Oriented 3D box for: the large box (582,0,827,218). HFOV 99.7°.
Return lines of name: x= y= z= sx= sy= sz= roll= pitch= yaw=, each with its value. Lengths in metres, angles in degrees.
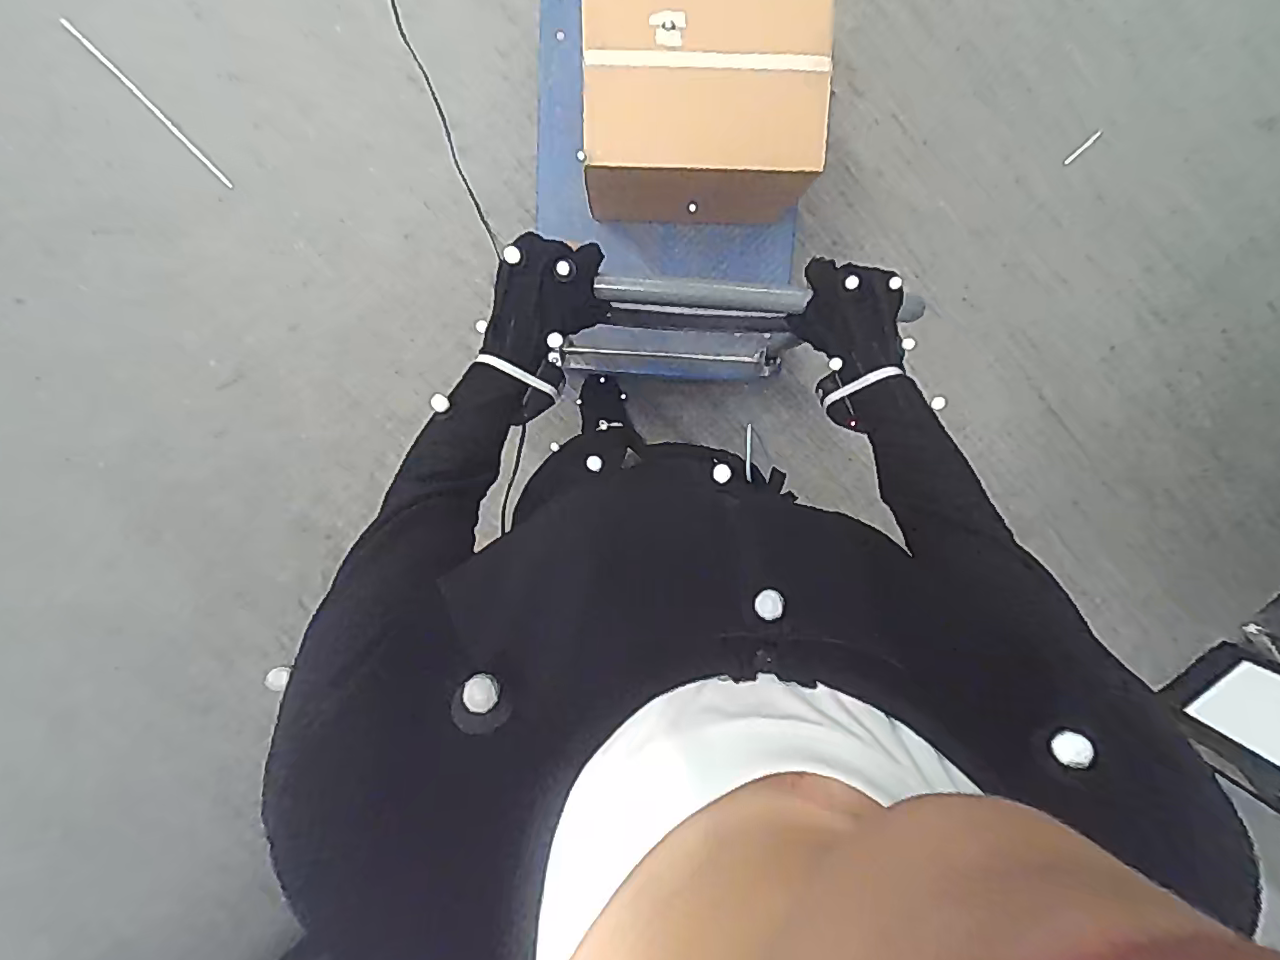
large box: x=0.105 y=-0.706 z=1.034 sx=0.408 sy=0.320 sz=0.320 roll=0 pitch=99 yaw=-1
